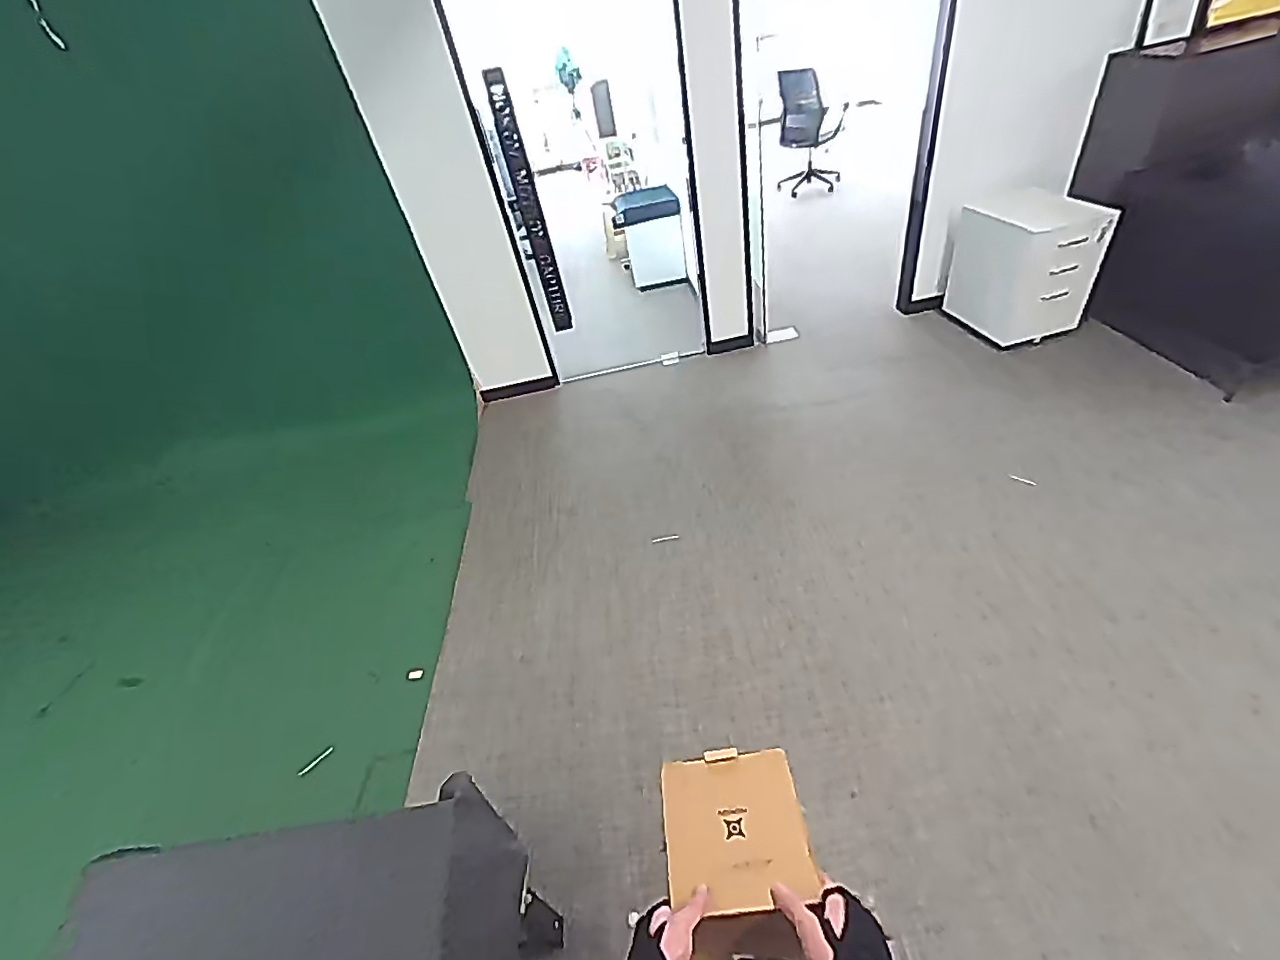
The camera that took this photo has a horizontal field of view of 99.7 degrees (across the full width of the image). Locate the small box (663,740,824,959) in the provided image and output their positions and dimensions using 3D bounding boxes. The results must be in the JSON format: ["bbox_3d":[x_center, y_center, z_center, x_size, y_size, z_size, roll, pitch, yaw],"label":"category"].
[{"bbox_3d":[0.123,0.460,0.674,0.168,0.176,0.179,-9,31,5],"label":"small box"}]
